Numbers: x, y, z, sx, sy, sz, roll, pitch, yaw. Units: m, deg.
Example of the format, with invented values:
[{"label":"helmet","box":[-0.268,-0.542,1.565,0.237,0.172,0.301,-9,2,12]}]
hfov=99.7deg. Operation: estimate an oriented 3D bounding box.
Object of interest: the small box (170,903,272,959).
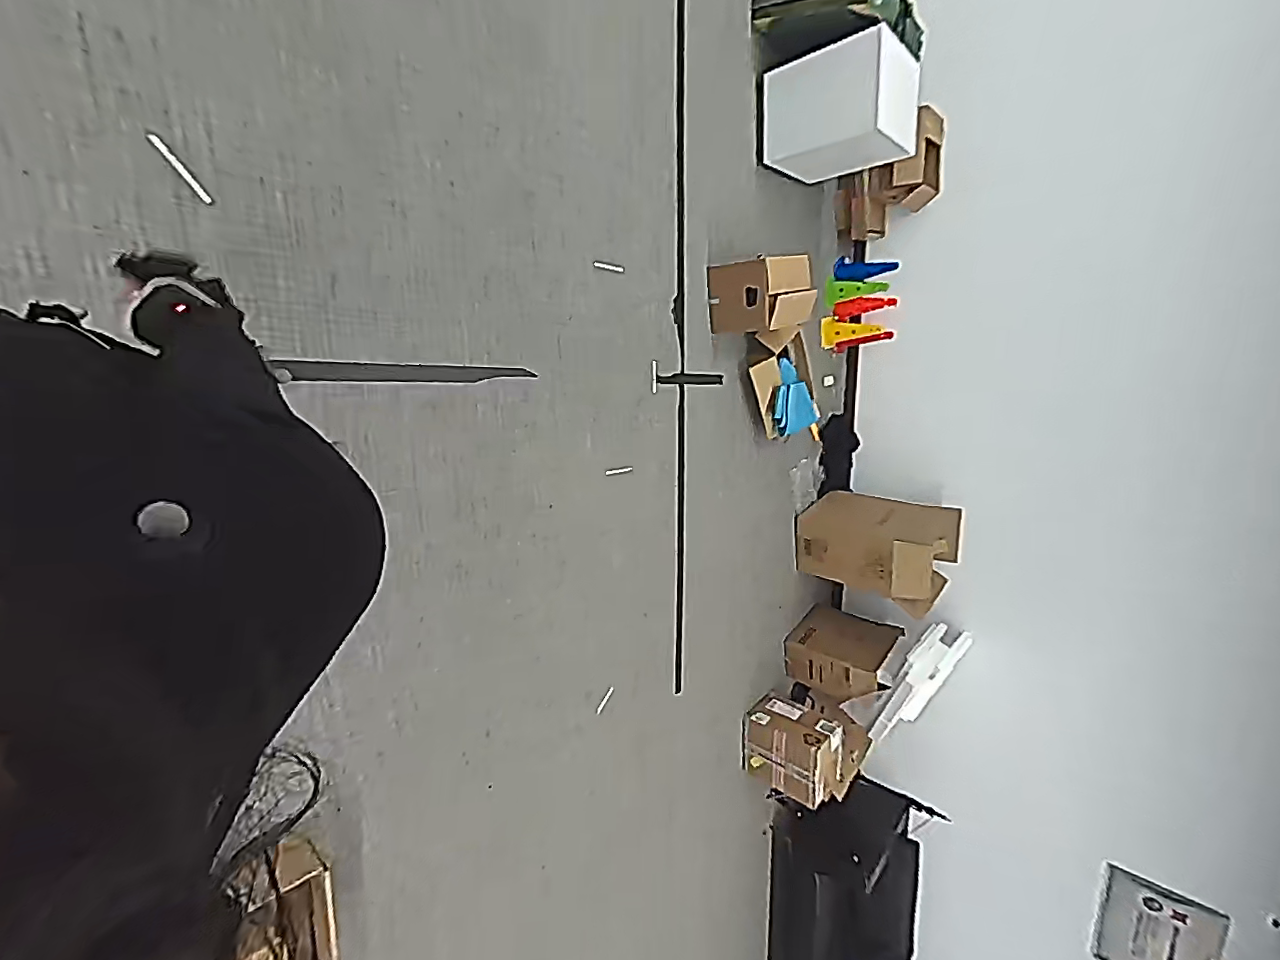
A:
[{"label":"small box","box":[-0.983,1.171,1.279,0.168,0.176,0.179,-13,107,-46]}]
